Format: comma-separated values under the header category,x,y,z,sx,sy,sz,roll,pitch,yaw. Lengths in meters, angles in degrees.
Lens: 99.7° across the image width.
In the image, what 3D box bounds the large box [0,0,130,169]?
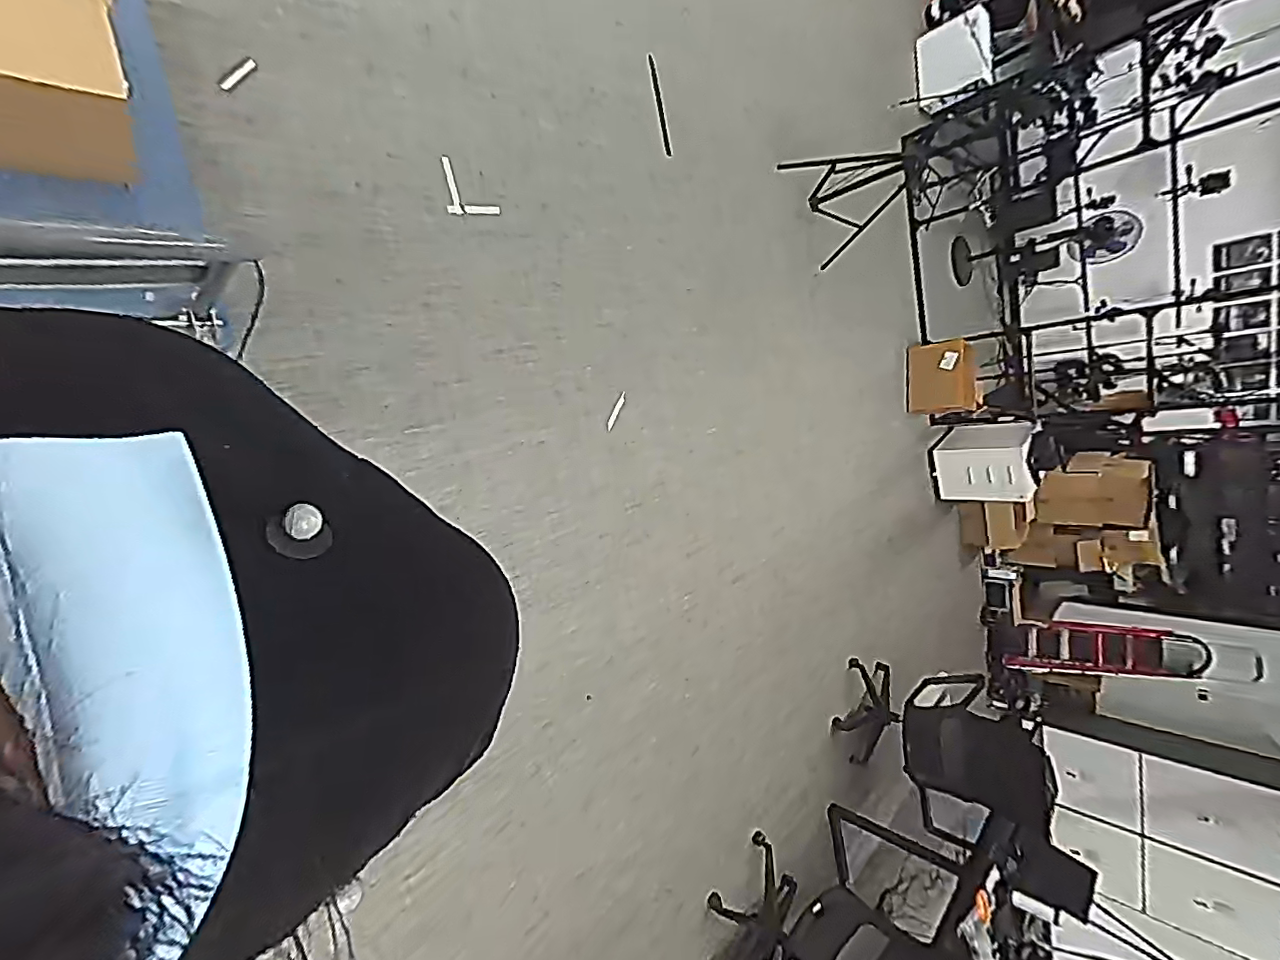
category,x,y,z,sx,sy,sz,roll,pitch,yaw
large box,-0.987,-0.659,0.714,0.408,0.320,0.320,-15,99,-41
